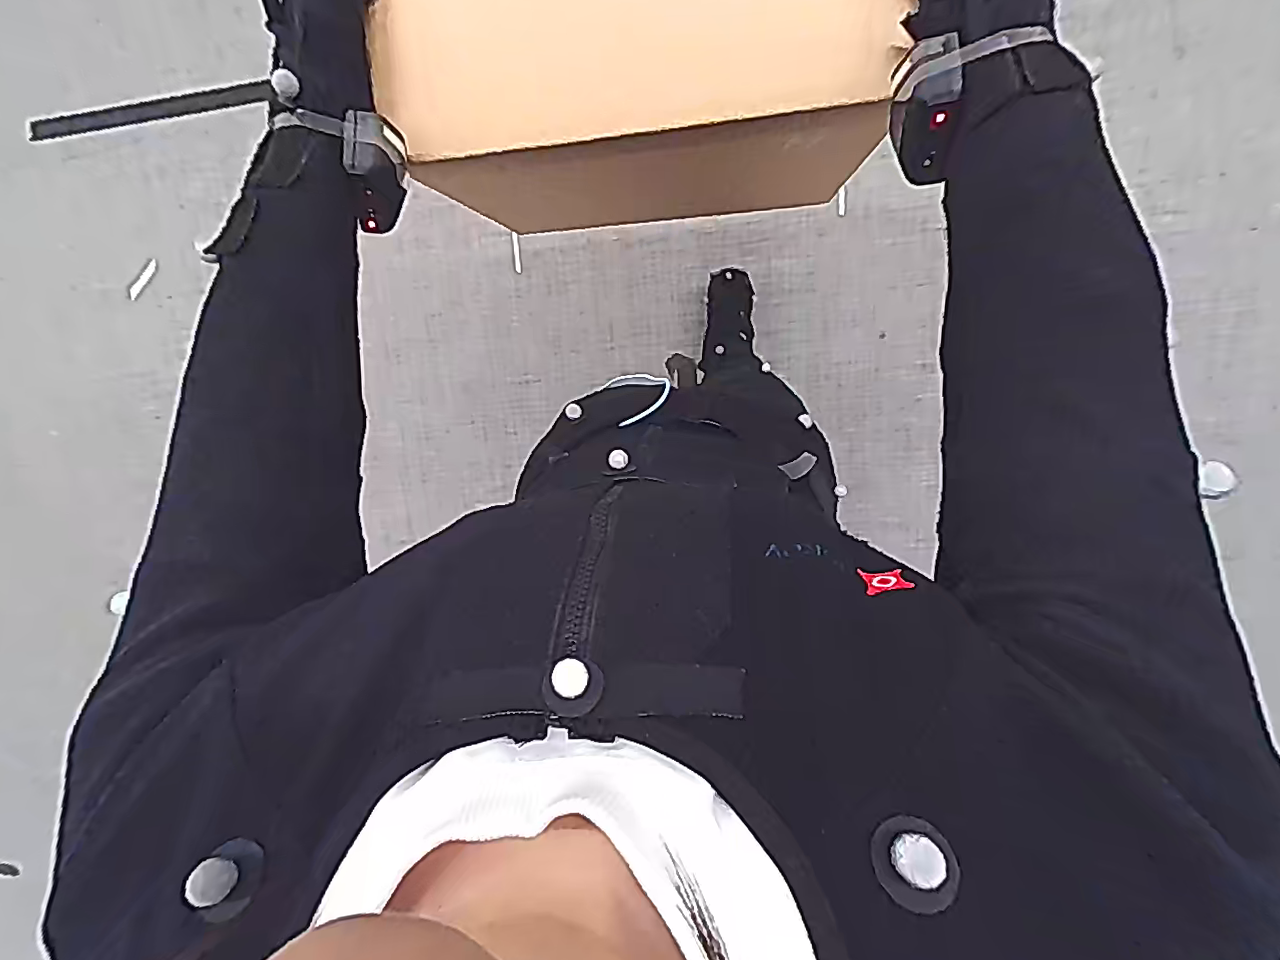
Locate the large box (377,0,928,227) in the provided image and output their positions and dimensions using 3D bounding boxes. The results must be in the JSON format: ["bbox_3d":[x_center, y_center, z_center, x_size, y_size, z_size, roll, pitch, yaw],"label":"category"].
[{"bbox_3d":[0.007,-0.458,0.516,0.408,0.320,0.320,-3,105,7],"label":"large box"}]
